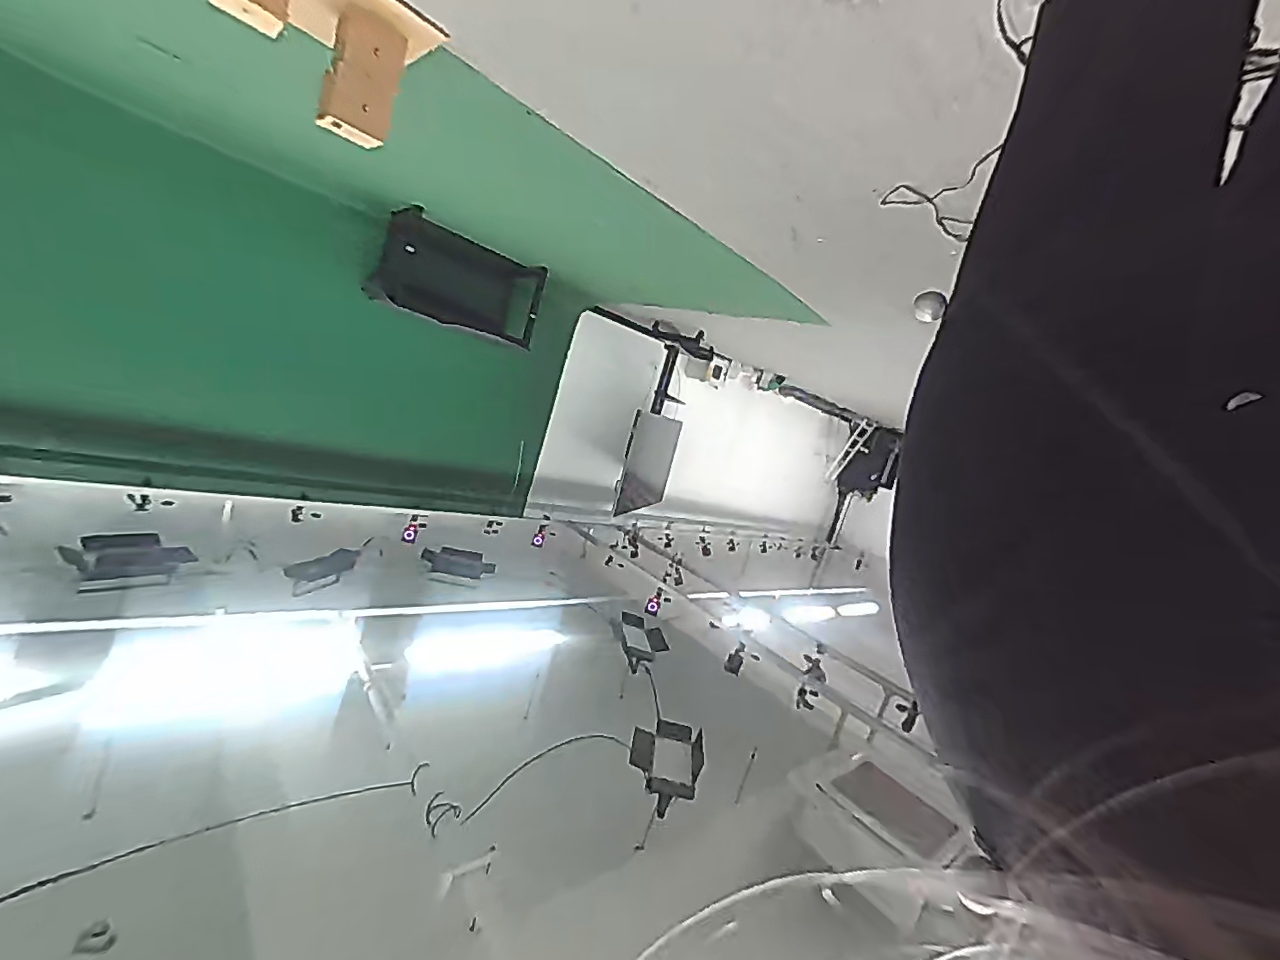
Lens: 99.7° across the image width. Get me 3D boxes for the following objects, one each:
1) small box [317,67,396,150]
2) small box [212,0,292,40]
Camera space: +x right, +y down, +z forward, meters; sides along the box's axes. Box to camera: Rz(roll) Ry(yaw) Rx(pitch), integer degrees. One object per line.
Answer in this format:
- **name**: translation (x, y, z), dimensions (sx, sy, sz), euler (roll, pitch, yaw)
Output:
- **small box**: translation (-0.948, -1.246, 1.811), dimensions (0.168, 0.176, 0.179), euler (23, -168, 40)
- **small box**: translation (-1.112, -1.437, 1.562), dimensions (0.168, 0.176, 0.179), euler (9, -170, -44)
